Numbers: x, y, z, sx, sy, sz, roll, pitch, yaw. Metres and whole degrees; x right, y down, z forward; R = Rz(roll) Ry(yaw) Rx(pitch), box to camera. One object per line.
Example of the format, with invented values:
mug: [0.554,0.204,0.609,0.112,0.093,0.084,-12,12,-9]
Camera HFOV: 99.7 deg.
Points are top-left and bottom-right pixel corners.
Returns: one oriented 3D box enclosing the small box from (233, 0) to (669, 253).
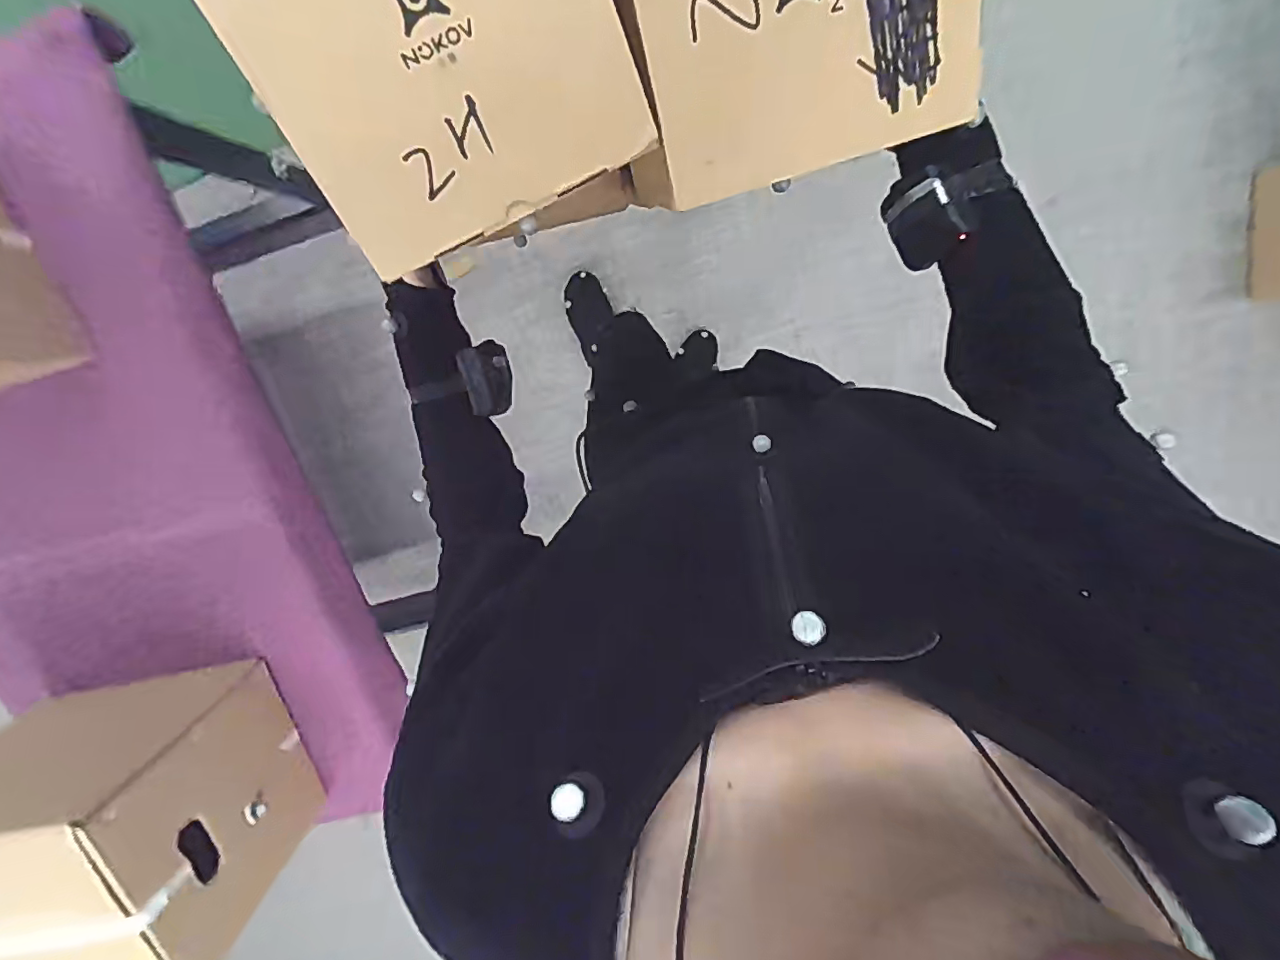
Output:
small box: [-0.103,-0.253,0.307,0.168,0.176,0.179,-24,120,3]
